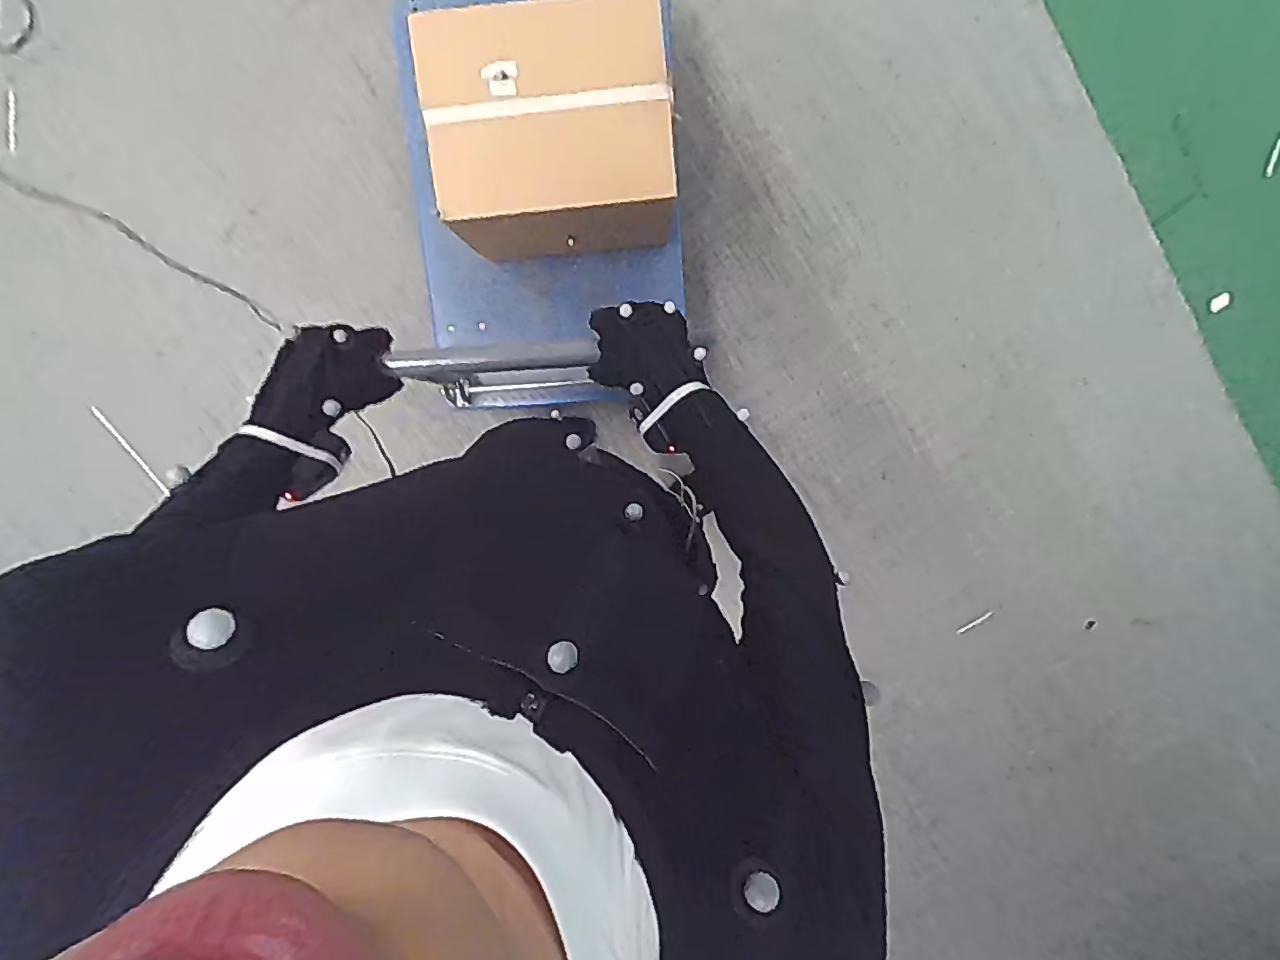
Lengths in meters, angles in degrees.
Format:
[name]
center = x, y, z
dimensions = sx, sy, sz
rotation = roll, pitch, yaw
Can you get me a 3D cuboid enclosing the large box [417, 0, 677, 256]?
[large box]
center = -0.147, -0.641, 1.038
dimensions = 0.408, 0.320, 0.320
rotation = -5, 99, 2
